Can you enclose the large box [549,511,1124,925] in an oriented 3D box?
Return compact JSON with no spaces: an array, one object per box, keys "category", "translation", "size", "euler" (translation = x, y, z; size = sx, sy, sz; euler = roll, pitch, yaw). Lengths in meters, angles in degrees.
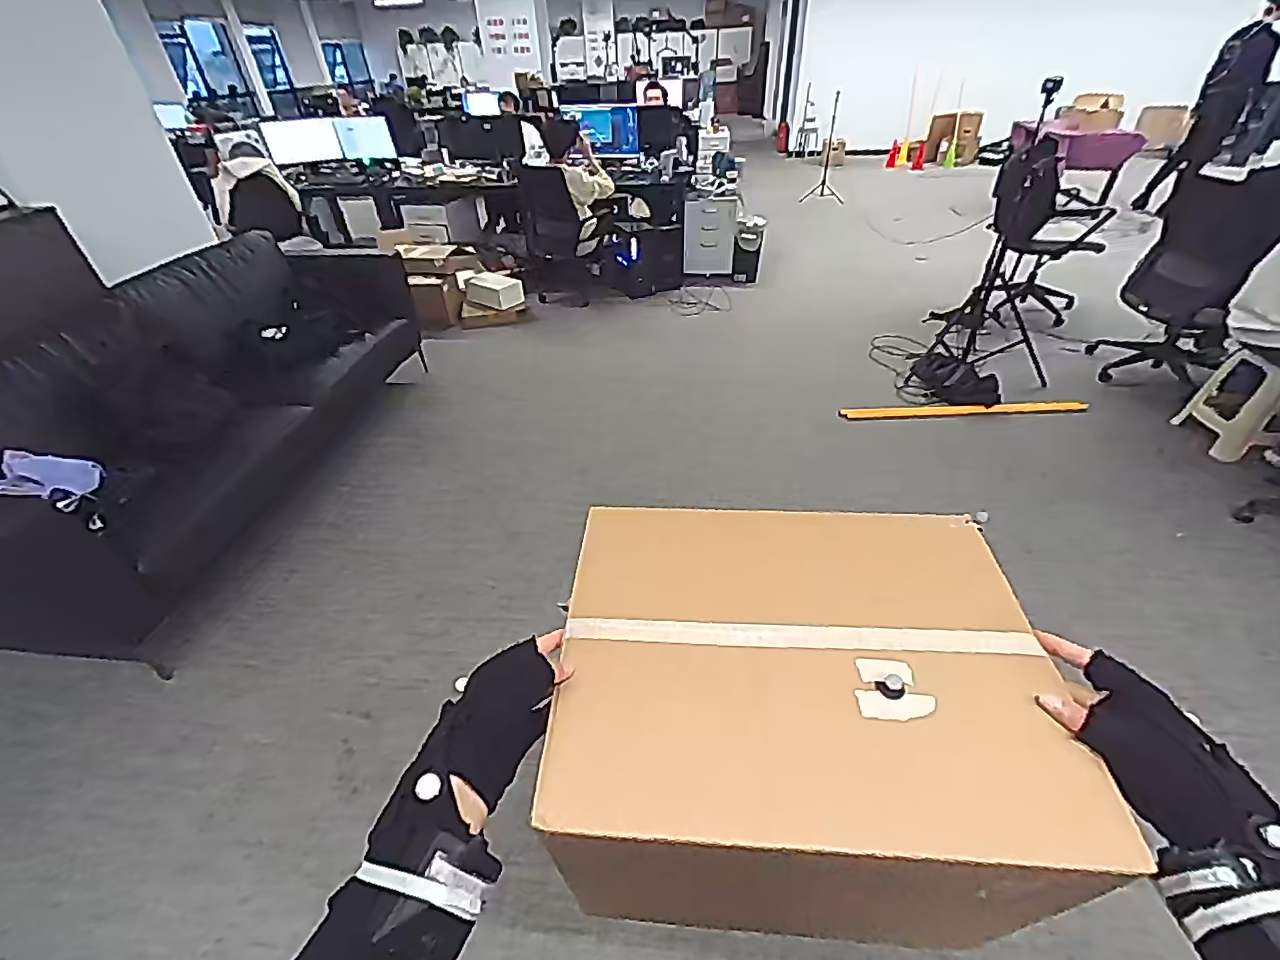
[{"category":"large box","translation":[0.144,0.249,0.584],"size":[0.408,0.320,0.320],"euler":[1,43,5]}]
